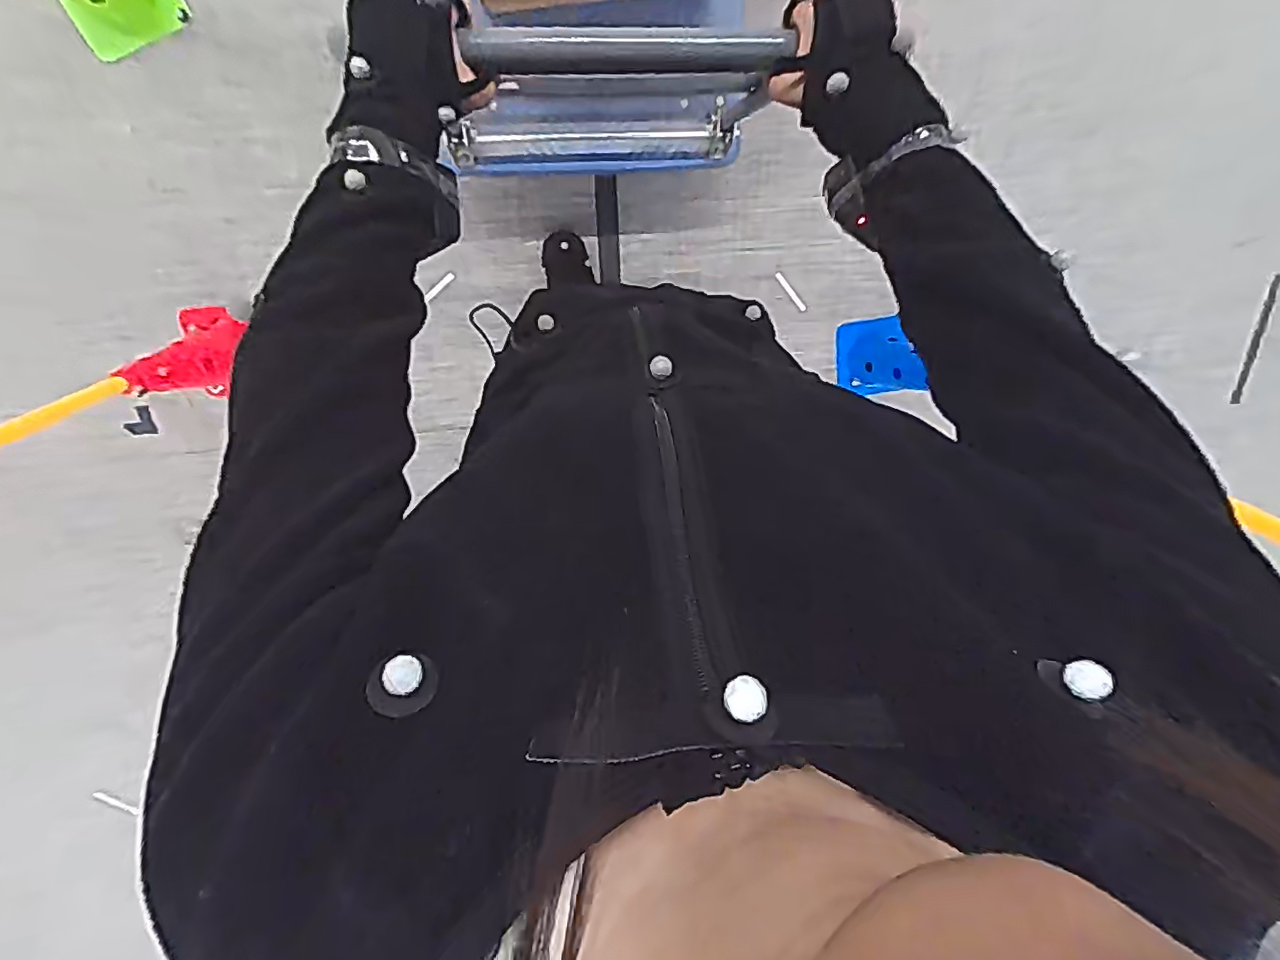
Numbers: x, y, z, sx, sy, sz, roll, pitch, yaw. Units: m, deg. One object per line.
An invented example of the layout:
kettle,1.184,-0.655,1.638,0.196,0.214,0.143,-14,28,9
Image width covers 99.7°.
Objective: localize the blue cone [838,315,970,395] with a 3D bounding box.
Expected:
blue cone,0.635,-0.268,1.273,0.193,0.380,0.192,-9,112,-4
